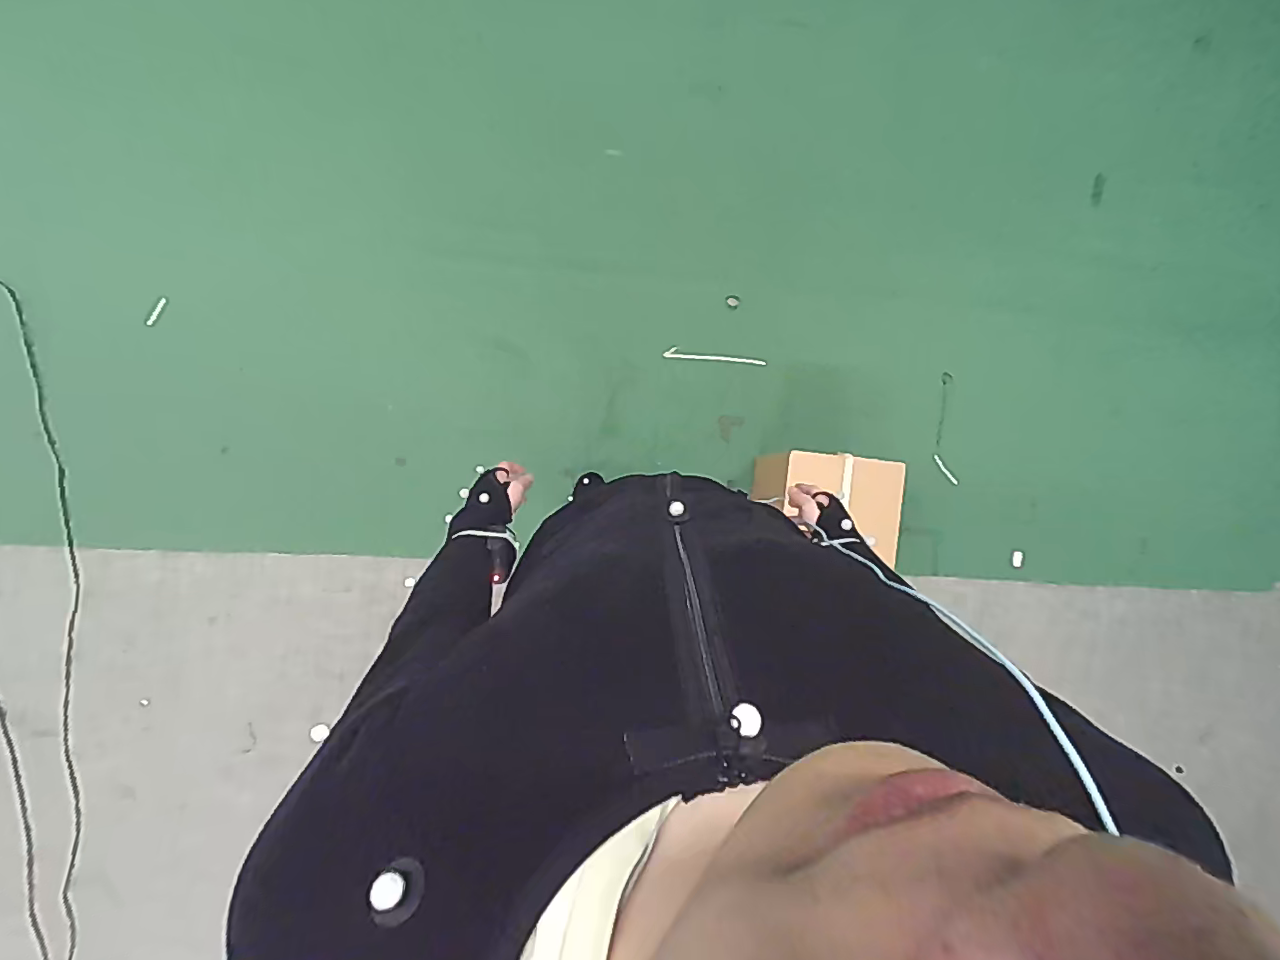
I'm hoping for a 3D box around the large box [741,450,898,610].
[{"bbox_3d":[0.492,0.126,1.546,0.320,0.320,0.408,6,91,-4],"label":"large box"}]
